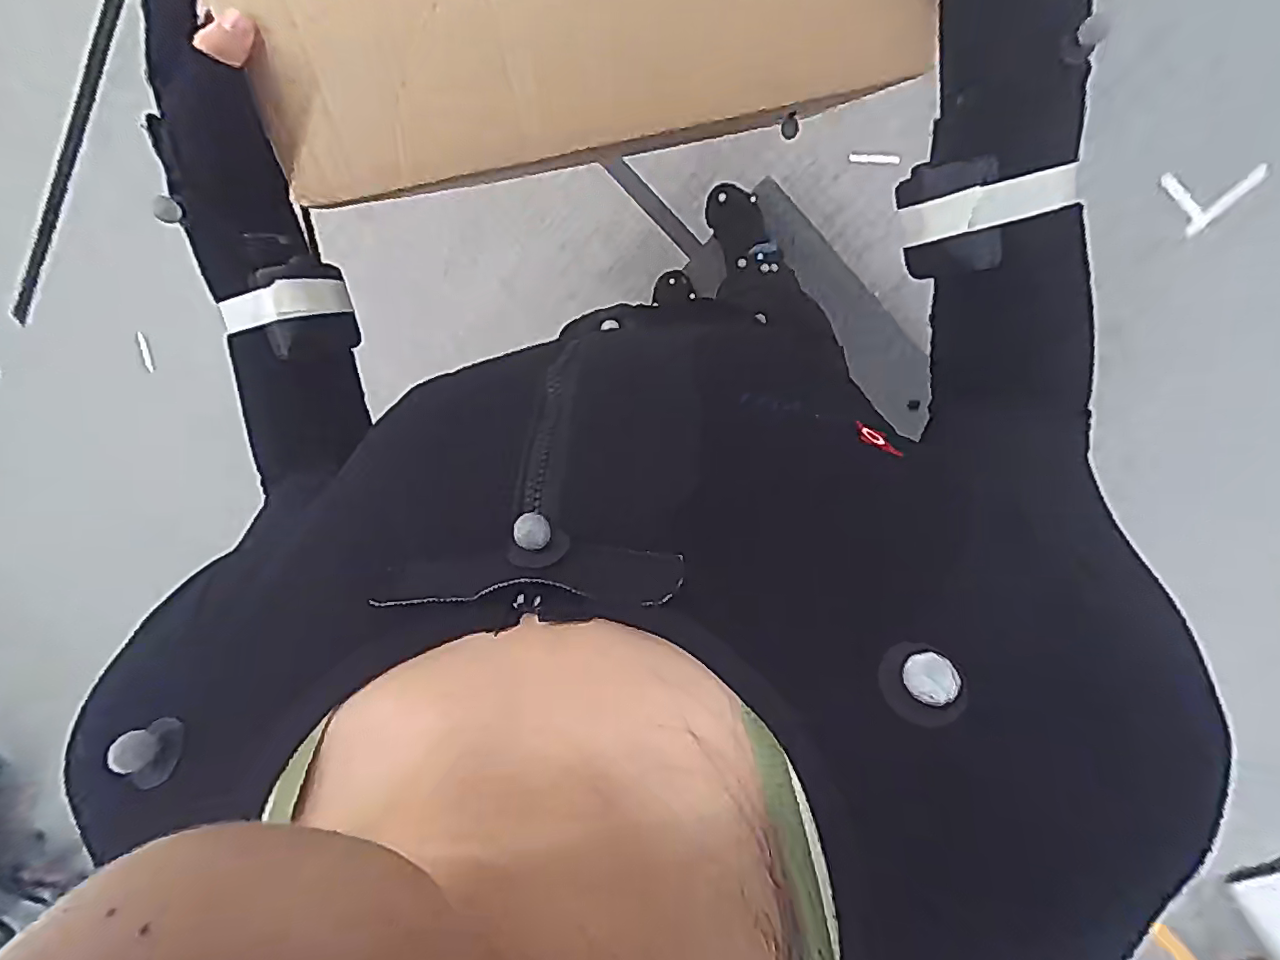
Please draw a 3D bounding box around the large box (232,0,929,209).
[{"bbox_3d":[-0.041,-0.419,0.399,0.408,0.320,0.320,-6,120,8],"label":"large box"}]

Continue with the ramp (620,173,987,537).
[{"bbox_3d":[0.473,-0.259,1.475,0.991,0.206,0.509,41,112,-10],"label":"ramp"}]
